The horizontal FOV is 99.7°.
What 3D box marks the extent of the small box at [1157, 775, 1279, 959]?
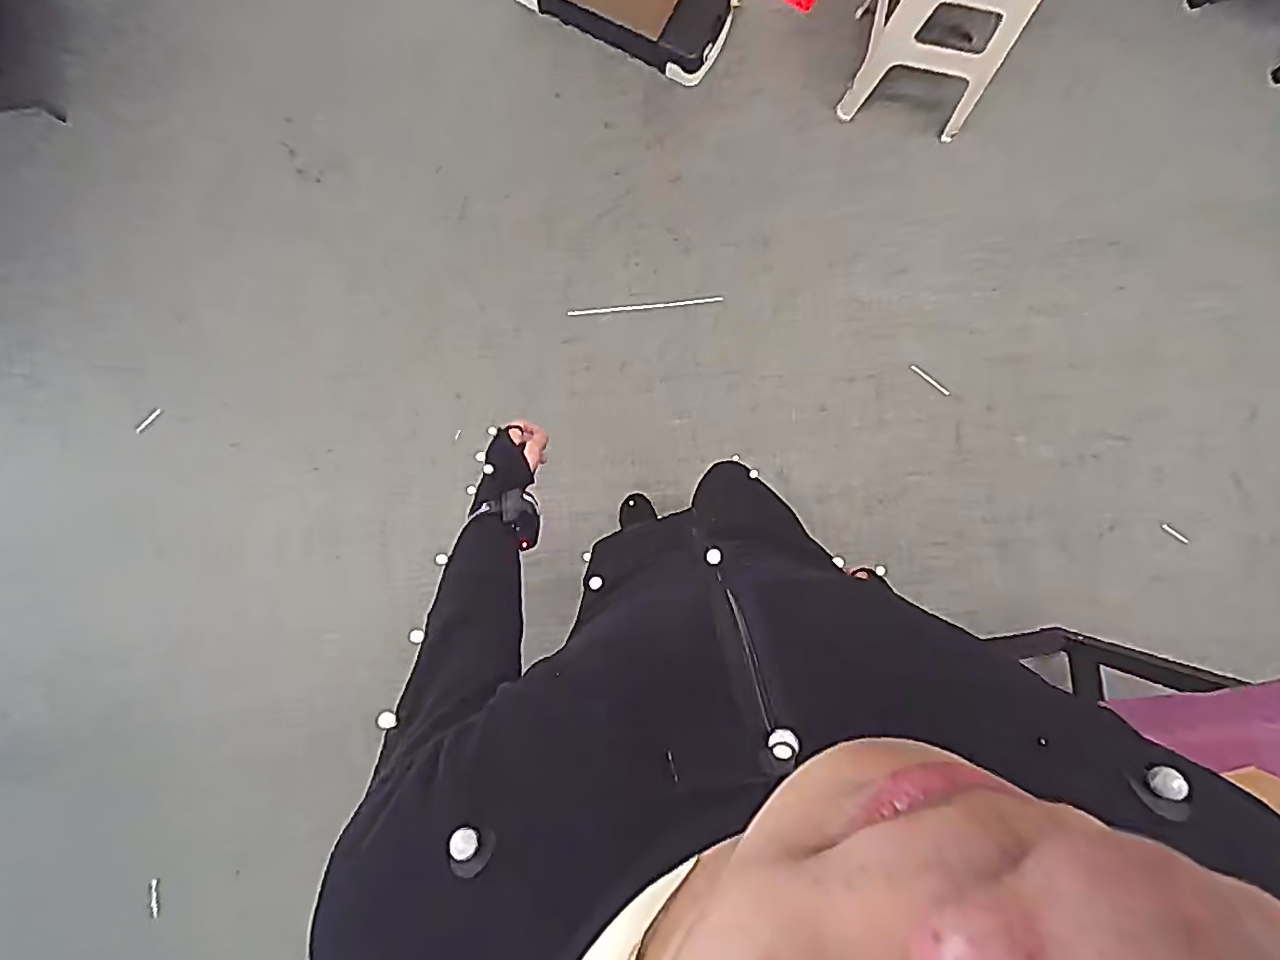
[{"bbox_3d":[0.952,0.574,0.813,0.179,0.176,0.168,-11,87,0],"label":"small box"}]
